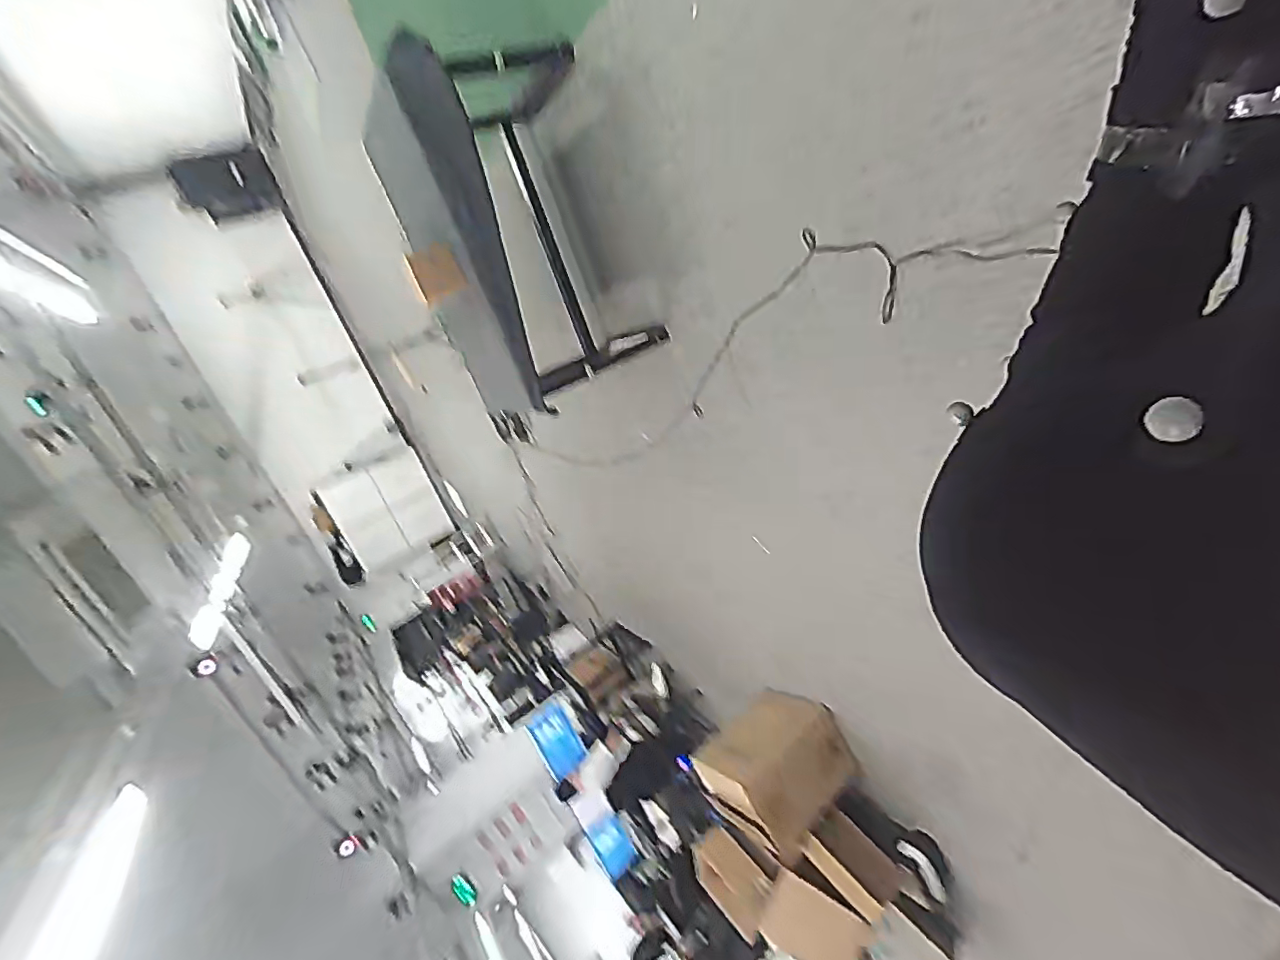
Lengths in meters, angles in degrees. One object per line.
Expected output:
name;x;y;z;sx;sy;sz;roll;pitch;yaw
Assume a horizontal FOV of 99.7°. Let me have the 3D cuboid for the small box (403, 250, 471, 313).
small box;-0.770;-0.758;2.056;0.168;0.176;0.179;11;128;59
